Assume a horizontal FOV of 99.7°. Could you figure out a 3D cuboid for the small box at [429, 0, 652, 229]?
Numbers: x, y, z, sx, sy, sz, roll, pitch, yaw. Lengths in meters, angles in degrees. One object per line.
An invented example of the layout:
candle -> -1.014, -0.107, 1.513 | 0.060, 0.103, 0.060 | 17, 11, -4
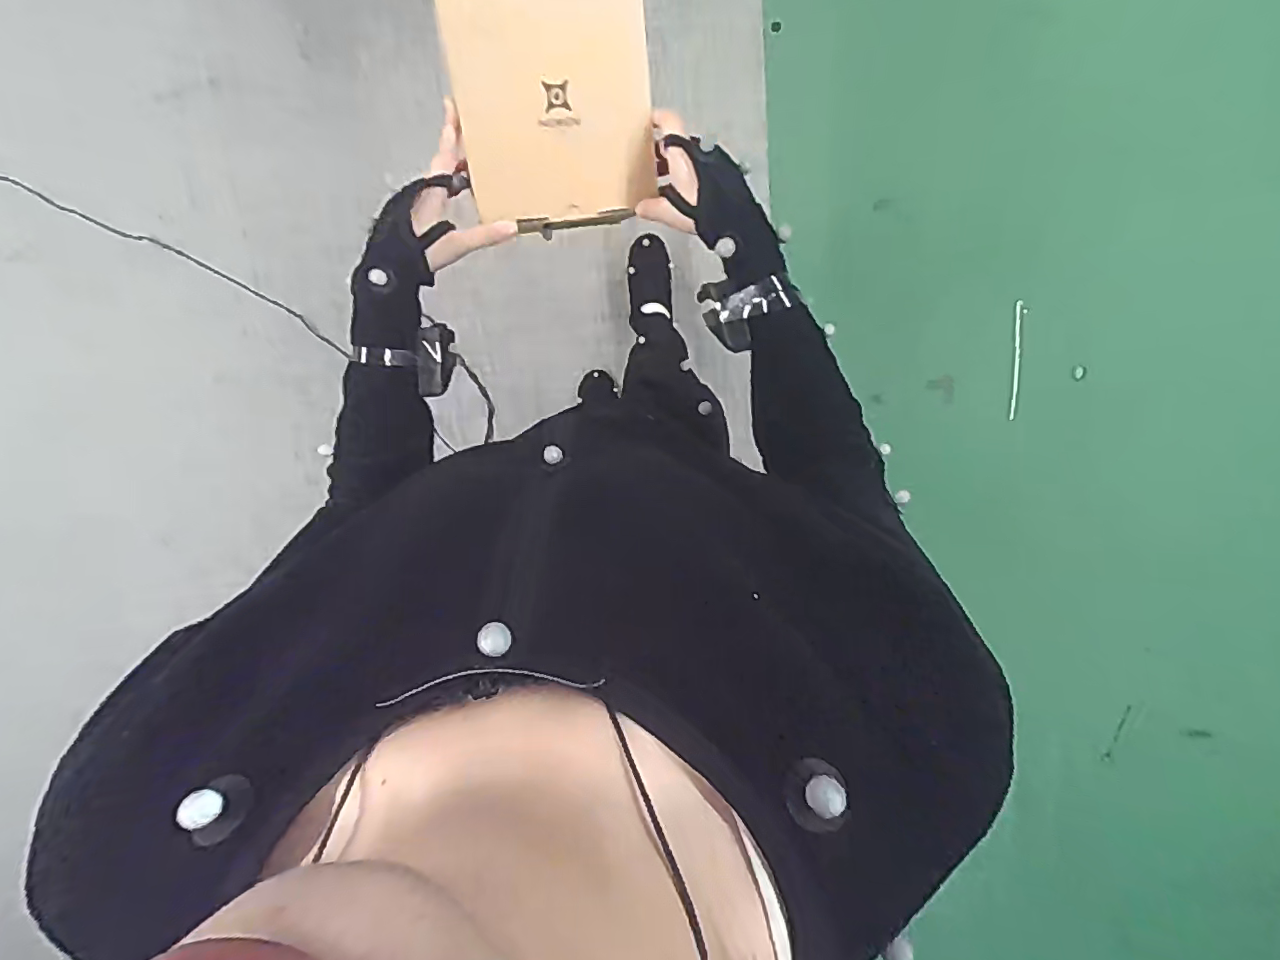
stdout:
small box -> -0.096, -0.347, 0.515 | 0.168, 0.176, 0.179 | -12, 114, -12
